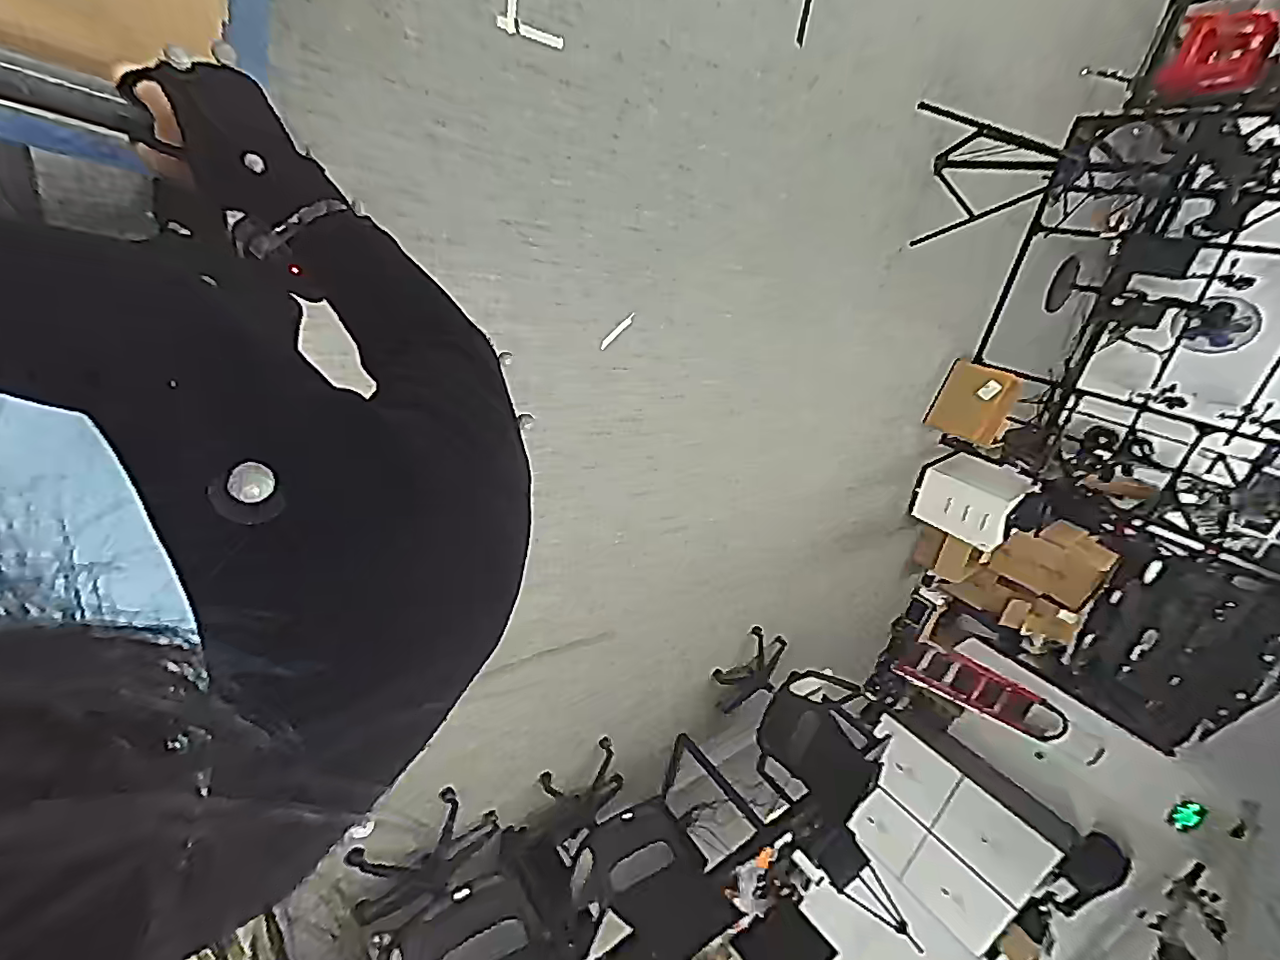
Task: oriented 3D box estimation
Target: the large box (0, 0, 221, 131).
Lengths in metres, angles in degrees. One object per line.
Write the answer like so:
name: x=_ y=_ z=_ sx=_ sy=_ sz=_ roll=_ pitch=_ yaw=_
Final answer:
large box: x=-0.752 y=-0.651 z=0.621 sx=0.408 sy=0.320 sz=0.320 roll=-3 pitch=116 yaw=-42
